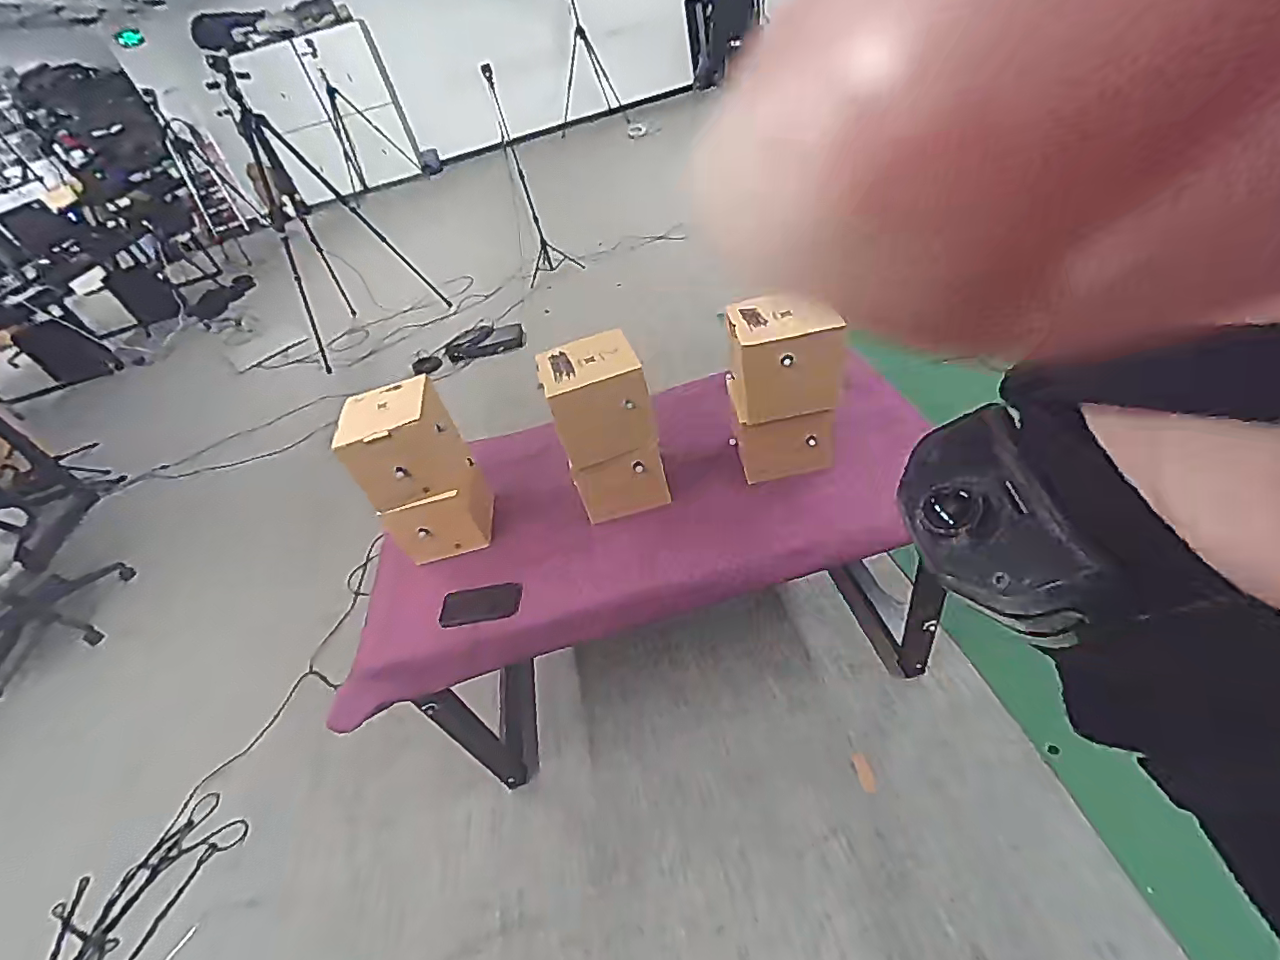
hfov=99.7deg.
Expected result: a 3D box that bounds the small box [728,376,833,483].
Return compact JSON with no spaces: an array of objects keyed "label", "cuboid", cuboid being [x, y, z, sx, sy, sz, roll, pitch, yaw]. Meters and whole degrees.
[{"label":"small box","cuboid":[0.287,-0.116,1.119,0.179,0.176,0.168,-11,42,7]}]

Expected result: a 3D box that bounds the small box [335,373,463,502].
[{"label":"small box","cuboid":[-0.460,-0.077,1.065,0.168,0.176,0.179,-17,43,-2]}]

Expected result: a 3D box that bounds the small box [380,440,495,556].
[{"label":"small box","cuboid":[-0.425,0.046,1.169,0.168,0.176,0.179,-14,42,2]}]

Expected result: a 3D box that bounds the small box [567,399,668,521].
[{"label":"small box","cuboid":[-0.044,-0.040,1.139,0.179,0.176,0.168,-15,42,2]}]

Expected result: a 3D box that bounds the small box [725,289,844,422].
[{"label":"small box","cuboid":[0.263,-0.225,0.998,0.179,0.176,0.168,-10,42,6]}]
